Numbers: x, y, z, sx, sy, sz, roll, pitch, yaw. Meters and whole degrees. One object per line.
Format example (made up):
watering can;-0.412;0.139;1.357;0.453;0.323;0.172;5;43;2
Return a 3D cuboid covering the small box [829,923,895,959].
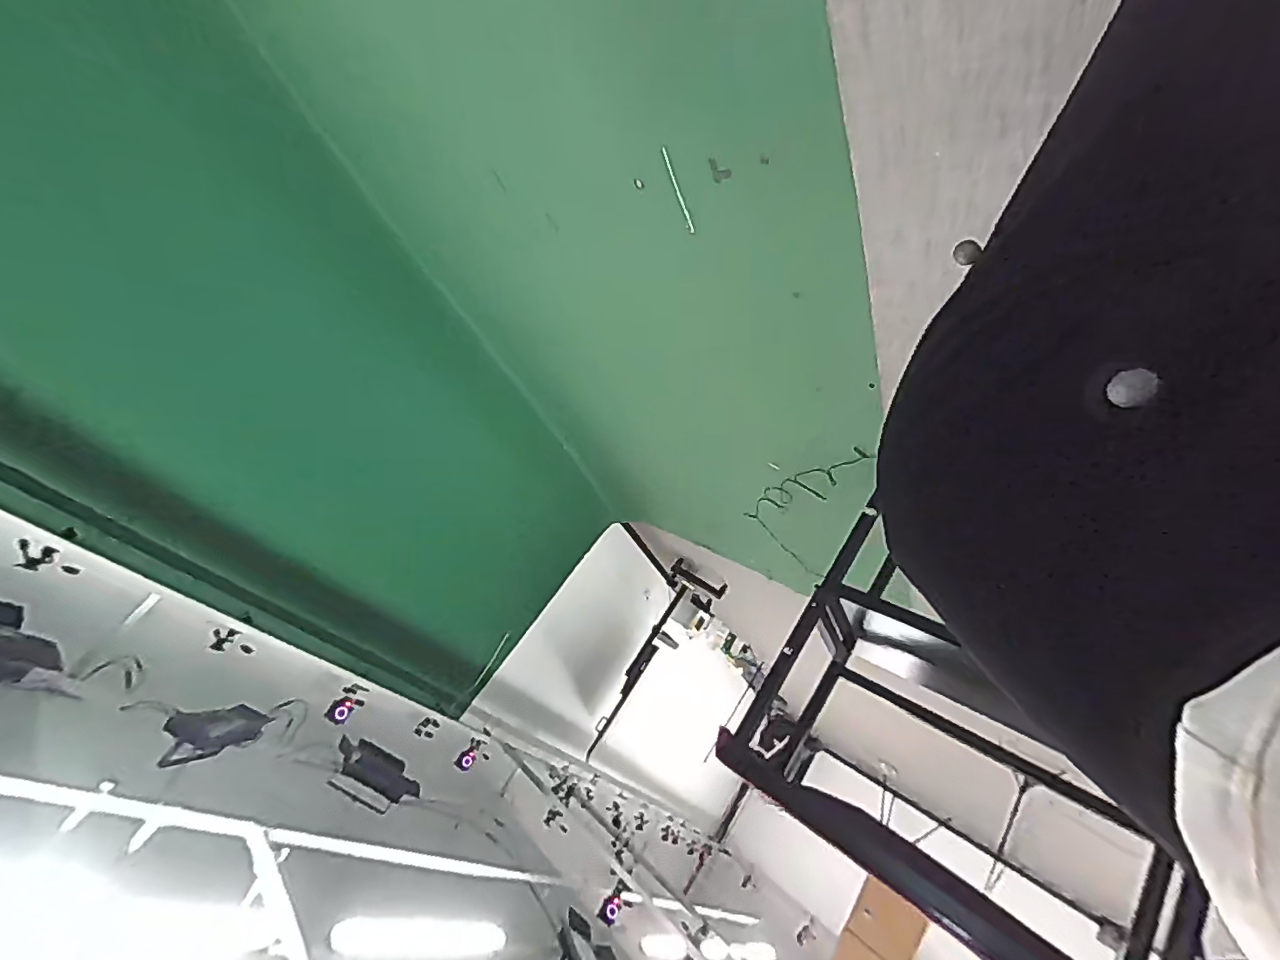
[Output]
small box;0.632;1.401;1.524;0.179;0.176;0.168;21;155;40
